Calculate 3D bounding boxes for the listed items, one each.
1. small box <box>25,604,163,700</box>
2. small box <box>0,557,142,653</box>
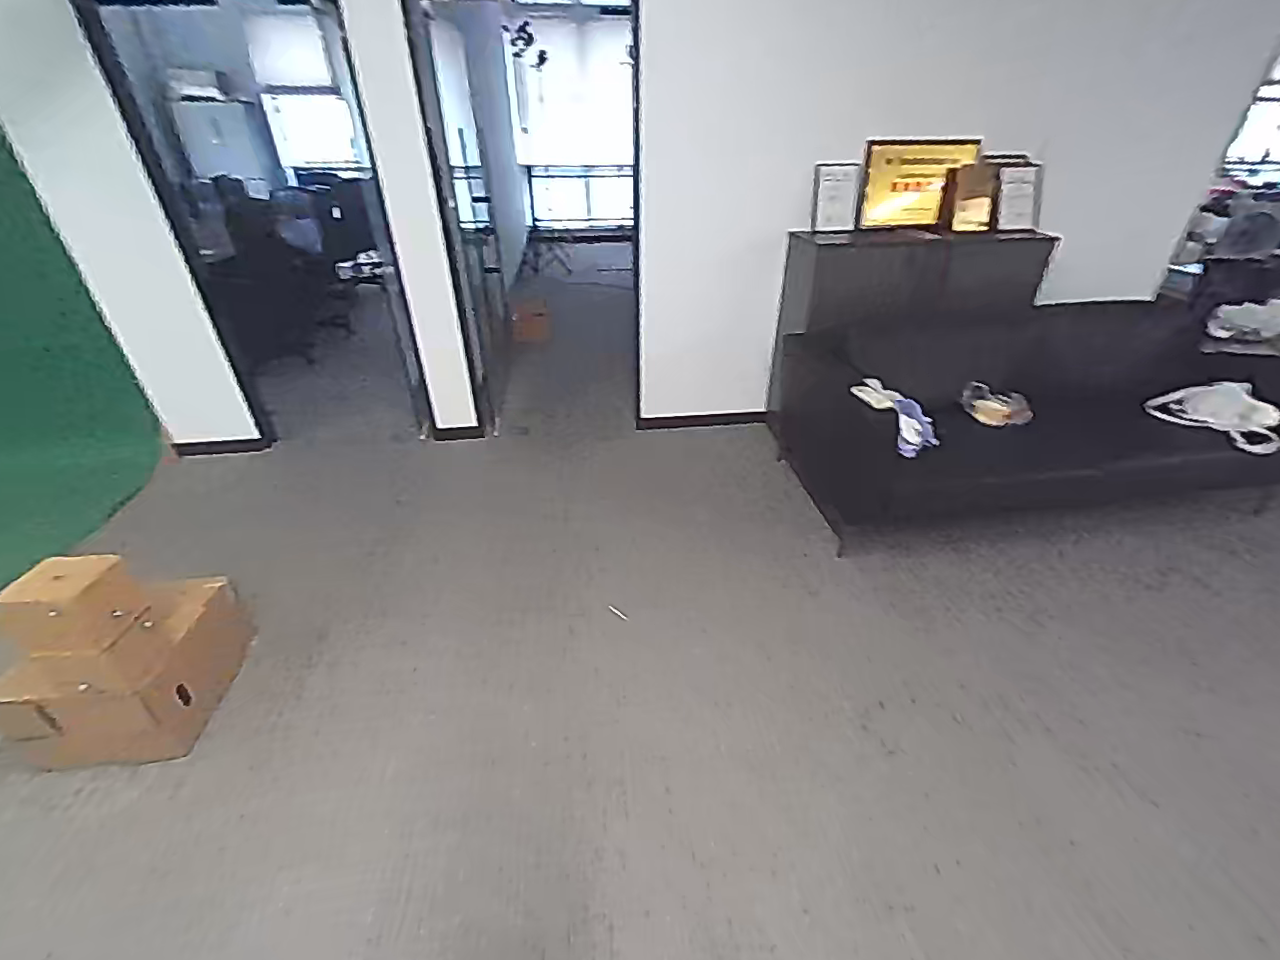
[{"bbox_3d":[-1.411,0.449,1.418,0.168,0.176,0.179,-2,32,-5],"label":"small box"},{"bbox_3d":[-1.406,0.309,1.335,0.179,0.176,0.168,-1,31,-5],"label":"small box"}]
